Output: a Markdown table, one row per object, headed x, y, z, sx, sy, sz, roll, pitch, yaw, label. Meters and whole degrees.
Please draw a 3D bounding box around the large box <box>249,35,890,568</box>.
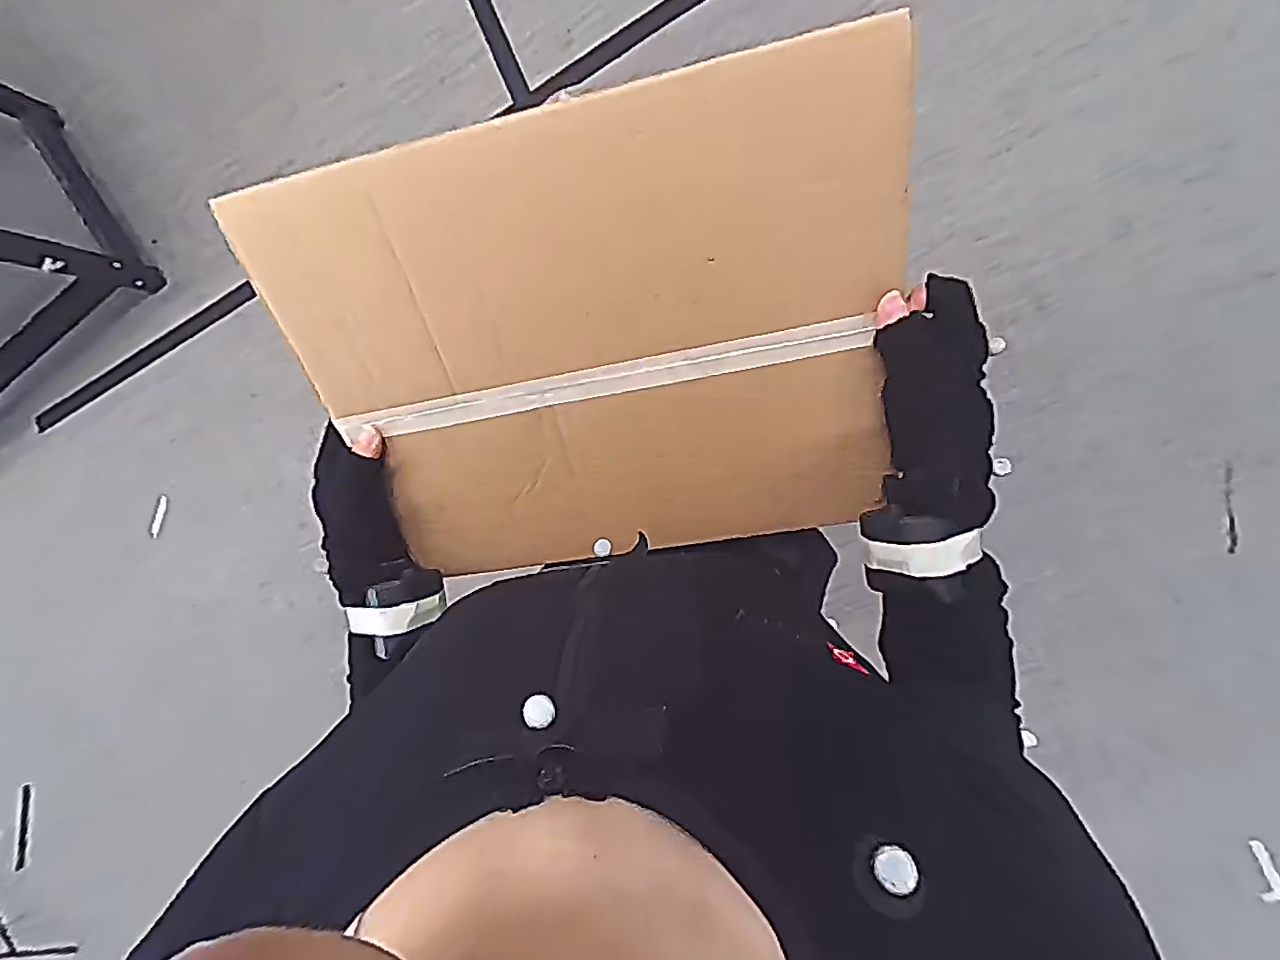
| x | y | z | sx | sy | sz | roll | pitch | yaw | label |
| --- | --- | --- | --- | --- | --- | --- | --- | --- | --- |
| -0.019 | -0.157 | 0.515 | 0.408 | 0.320 | 0.320 | -9 | 122 | 9 | large box |
